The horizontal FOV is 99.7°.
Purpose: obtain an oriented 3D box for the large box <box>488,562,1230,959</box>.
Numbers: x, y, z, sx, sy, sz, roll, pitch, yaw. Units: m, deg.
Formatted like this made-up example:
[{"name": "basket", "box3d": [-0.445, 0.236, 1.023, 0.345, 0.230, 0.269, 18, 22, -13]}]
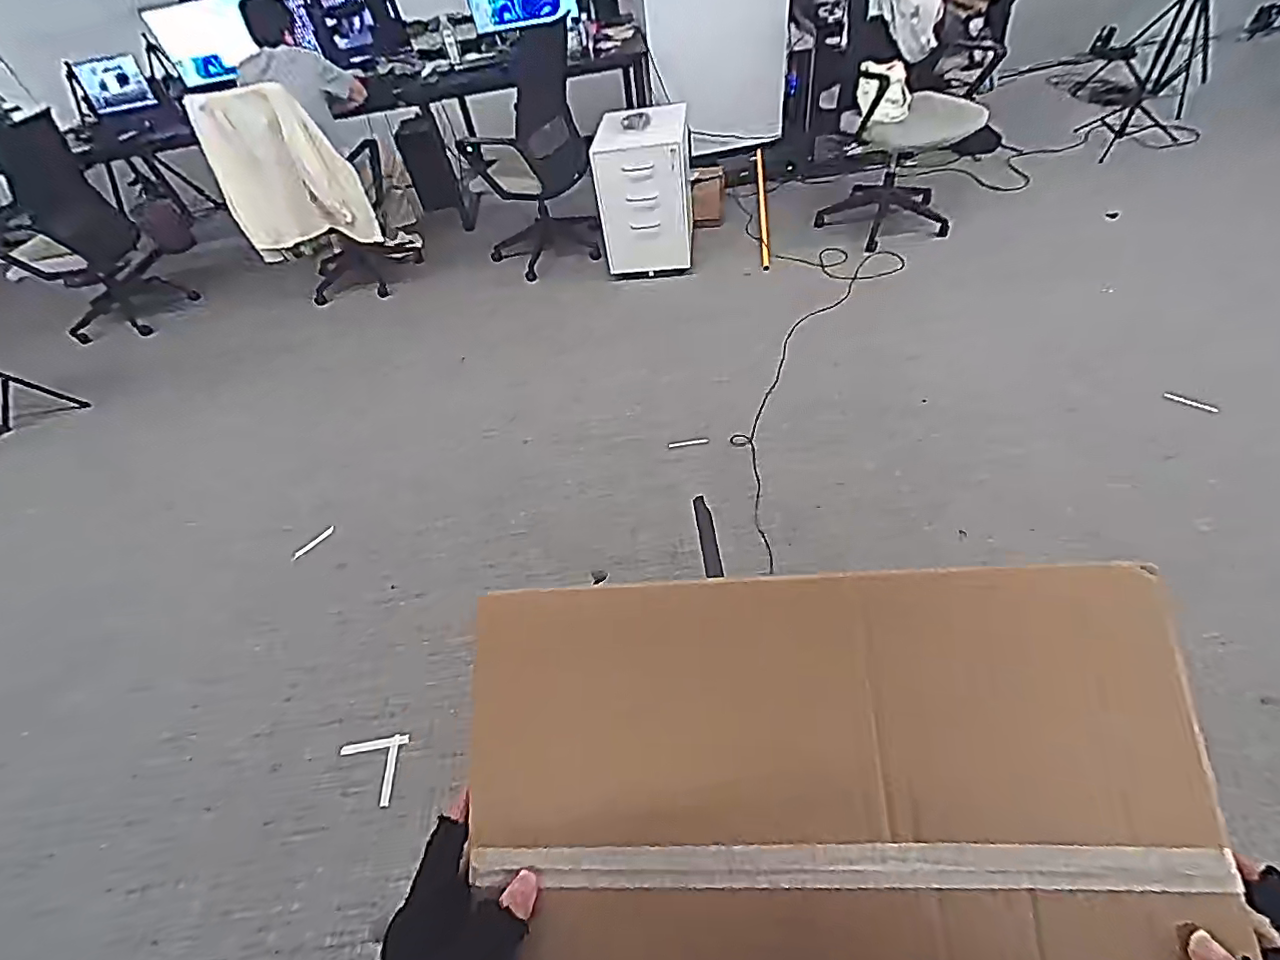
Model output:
[{"name": "large box", "box3d": [0.120, 0.246, 0.455, 0.408, 0.320, 0.320, -4, 78, 7]}]
